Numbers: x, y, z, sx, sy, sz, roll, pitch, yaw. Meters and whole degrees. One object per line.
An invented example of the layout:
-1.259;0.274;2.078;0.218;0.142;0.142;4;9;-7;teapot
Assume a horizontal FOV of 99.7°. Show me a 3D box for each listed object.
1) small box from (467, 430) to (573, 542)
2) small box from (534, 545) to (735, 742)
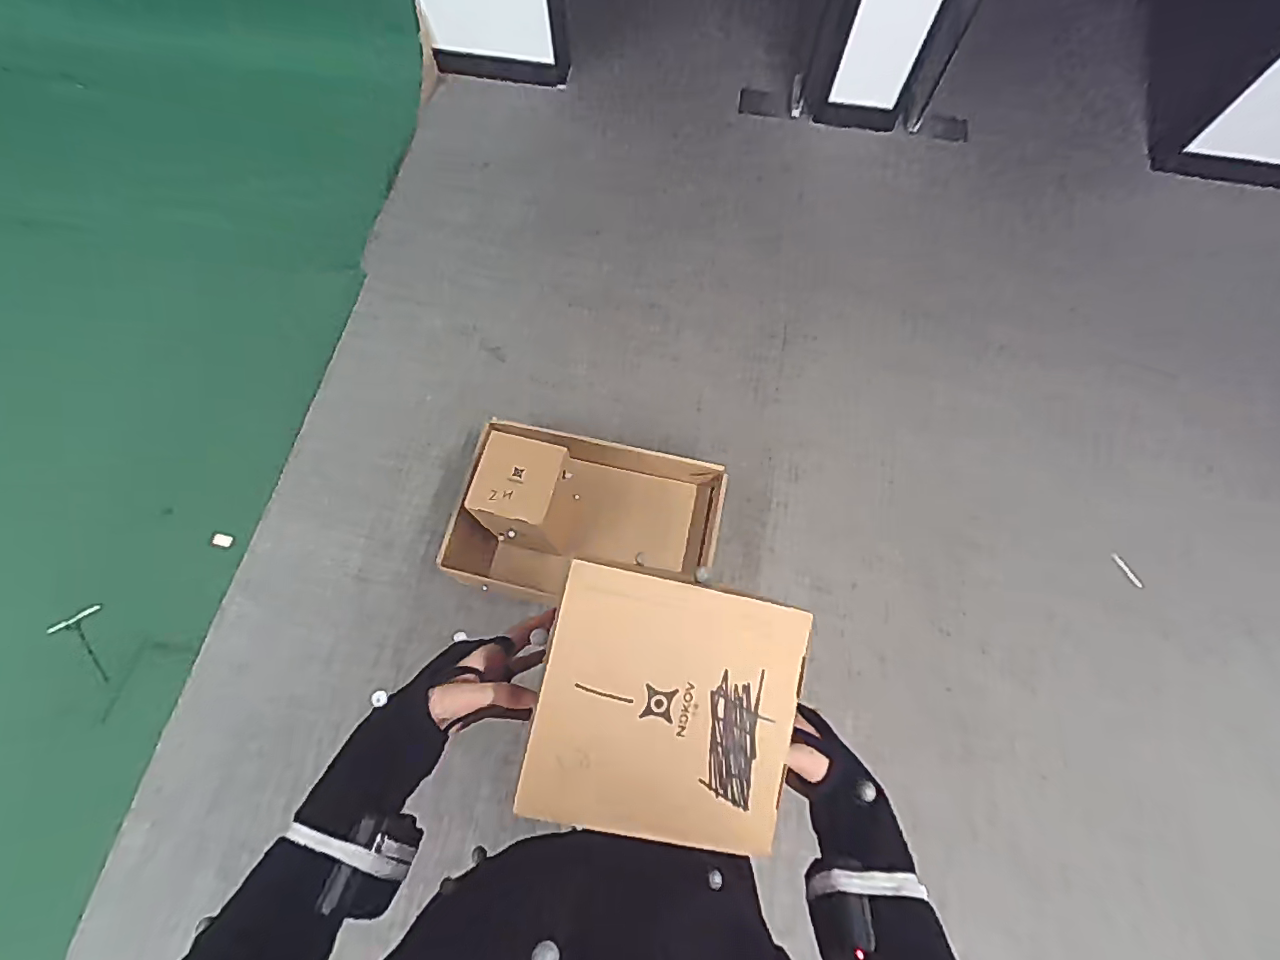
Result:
-0.249;0.018;1.178;0.168;0.176;0.179;14;72;6;small box
-0.010;0.170;0.610;0.179;0.176;0.168;11;83;-5;small box
